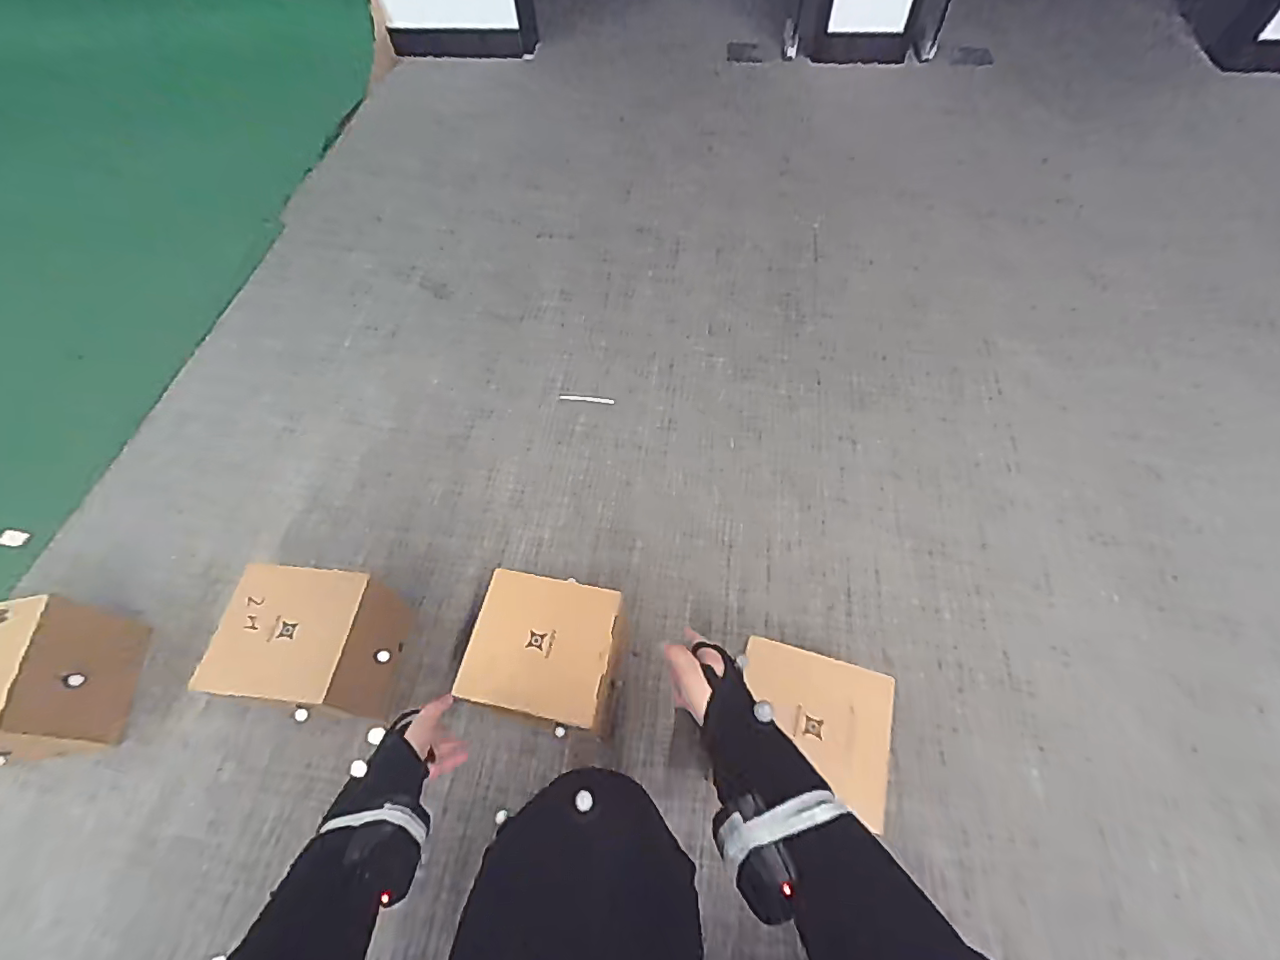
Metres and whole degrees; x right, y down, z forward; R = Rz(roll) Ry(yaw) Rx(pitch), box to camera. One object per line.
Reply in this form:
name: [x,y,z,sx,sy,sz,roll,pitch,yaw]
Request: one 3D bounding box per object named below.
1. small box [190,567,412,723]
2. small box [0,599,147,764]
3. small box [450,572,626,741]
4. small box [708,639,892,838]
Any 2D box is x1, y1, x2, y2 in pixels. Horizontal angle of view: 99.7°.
small box: [-0.448,0.235,0.754,0.179,0.176,0.168,4,59,5]
small box: [-0.844,0.284,0.745,0.168,0.176,0.179,-10,59,-3]
small box: [-0.123,0.246,0.737,0.179,0.176,0.168,10,60,7]
small box: [0.189,0.323,0.676,0.179,0.176,0.168,15,62,10]
